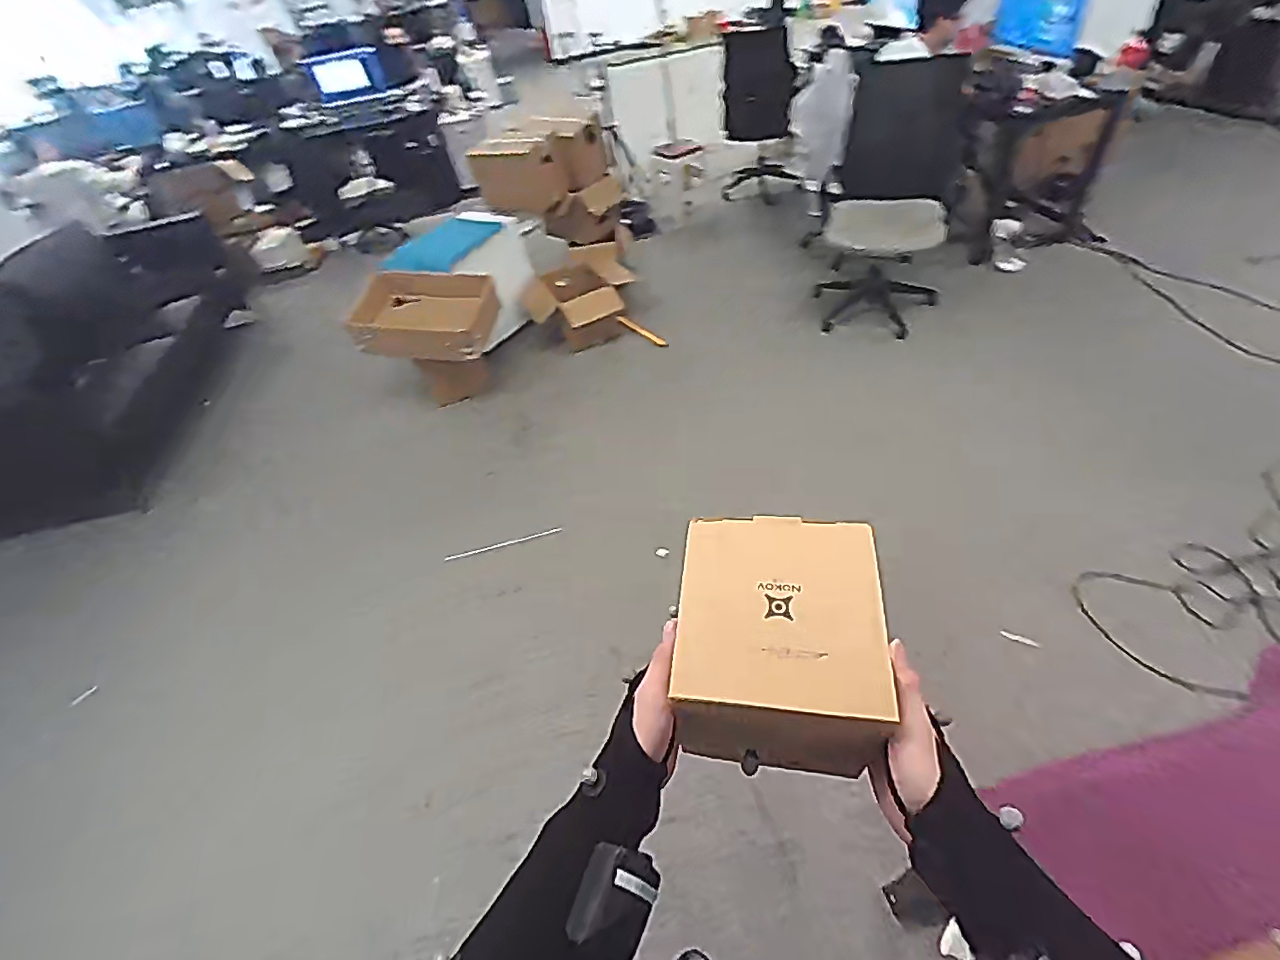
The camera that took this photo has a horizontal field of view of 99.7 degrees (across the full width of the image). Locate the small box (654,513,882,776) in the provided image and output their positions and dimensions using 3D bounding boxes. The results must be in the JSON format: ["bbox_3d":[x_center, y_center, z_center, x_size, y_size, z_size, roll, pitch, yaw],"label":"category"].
[{"bbox_3d":[0.113,0.151,0.504,0.168,0.176,0.179,1,50,12],"label":"small box"}]
